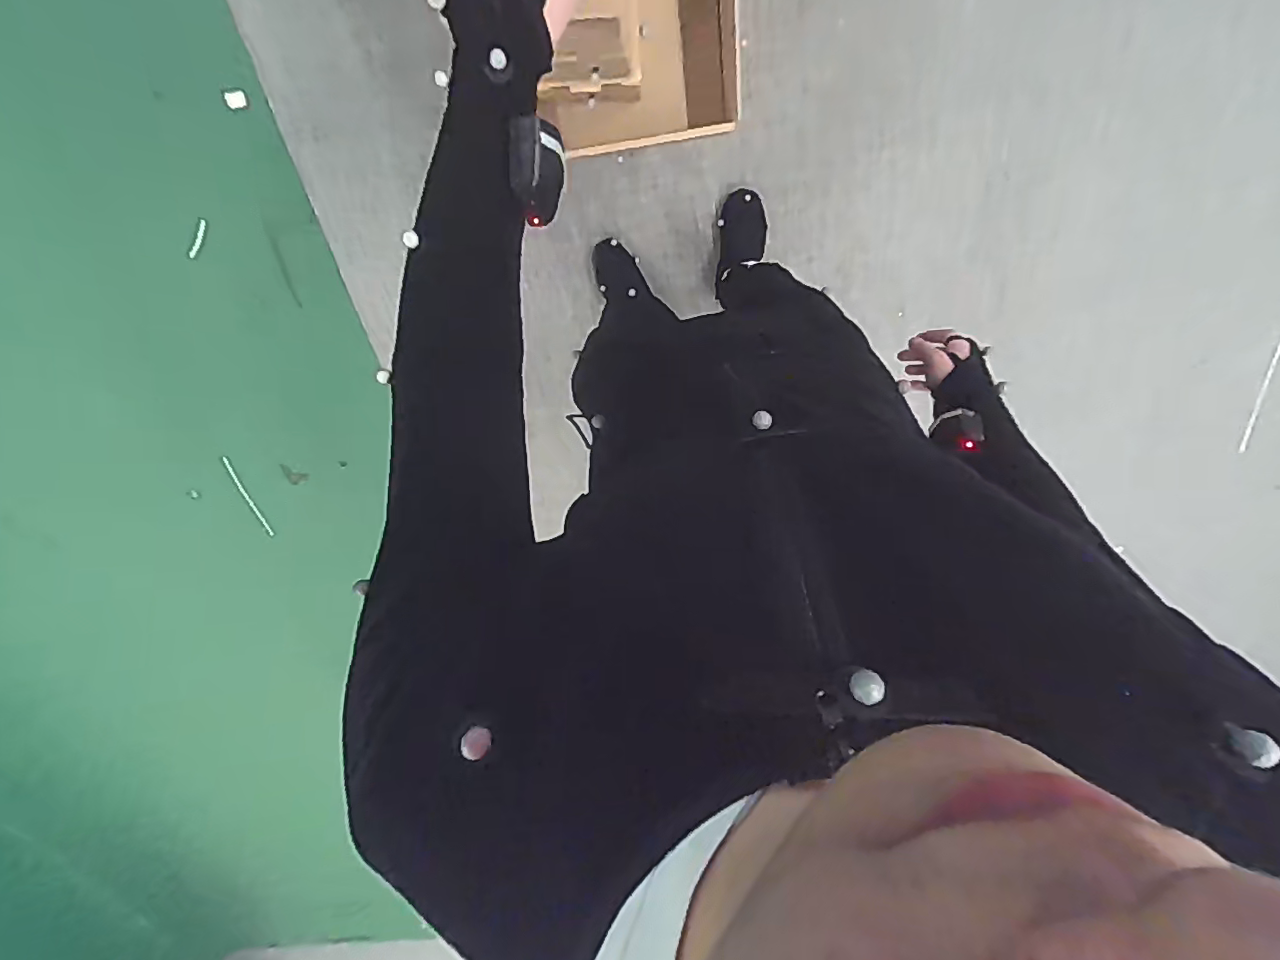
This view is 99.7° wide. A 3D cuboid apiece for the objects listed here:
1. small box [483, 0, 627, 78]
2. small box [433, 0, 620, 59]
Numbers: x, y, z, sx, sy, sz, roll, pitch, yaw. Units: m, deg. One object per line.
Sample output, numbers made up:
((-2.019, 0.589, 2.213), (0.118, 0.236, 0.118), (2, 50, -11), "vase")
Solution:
((-0.102, -0.609, 0.660), (0.168, 0.176, 0.179), (-1, 119, 1), "small box")
((-0.106, -0.529, 0.517), (0.168, 0.176, 0.179), (-1, 120, 1), "small box")
